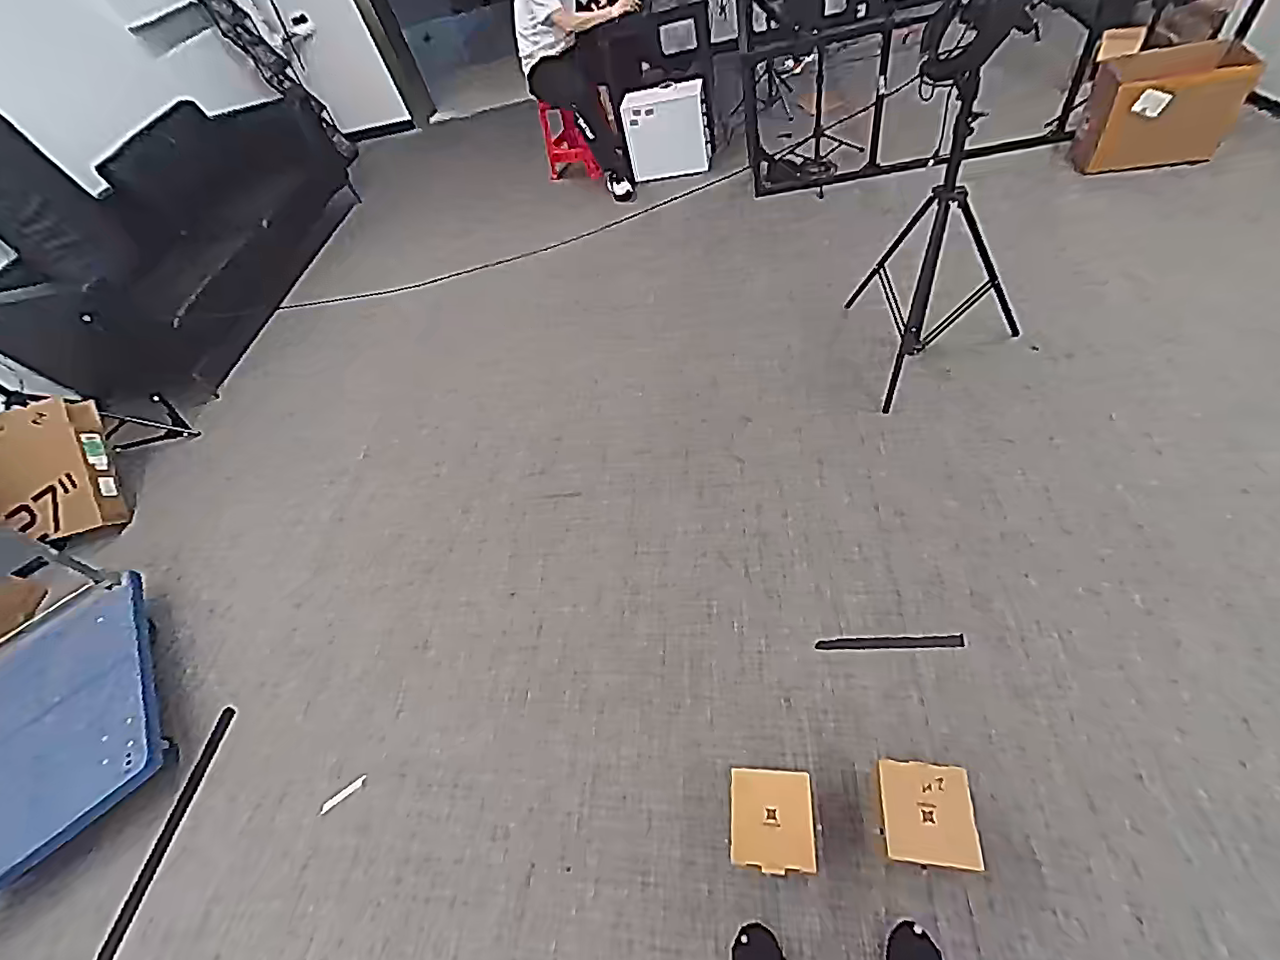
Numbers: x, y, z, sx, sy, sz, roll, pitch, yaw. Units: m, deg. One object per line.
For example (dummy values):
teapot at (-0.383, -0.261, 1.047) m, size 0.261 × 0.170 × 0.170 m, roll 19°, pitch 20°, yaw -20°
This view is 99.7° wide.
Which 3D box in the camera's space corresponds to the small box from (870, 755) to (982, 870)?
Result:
small box at (0.579, 0.689, 1.119) m, size 0.168 × 0.176 × 0.179 m, roll -1°, pitch 53°, yaw 14°

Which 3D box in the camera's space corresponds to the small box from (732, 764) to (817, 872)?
small box at (0.288, 0.732, 1.171) m, size 0.168 × 0.176 × 0.179 m, roll -4°, pitch 53°, yaw 13°
